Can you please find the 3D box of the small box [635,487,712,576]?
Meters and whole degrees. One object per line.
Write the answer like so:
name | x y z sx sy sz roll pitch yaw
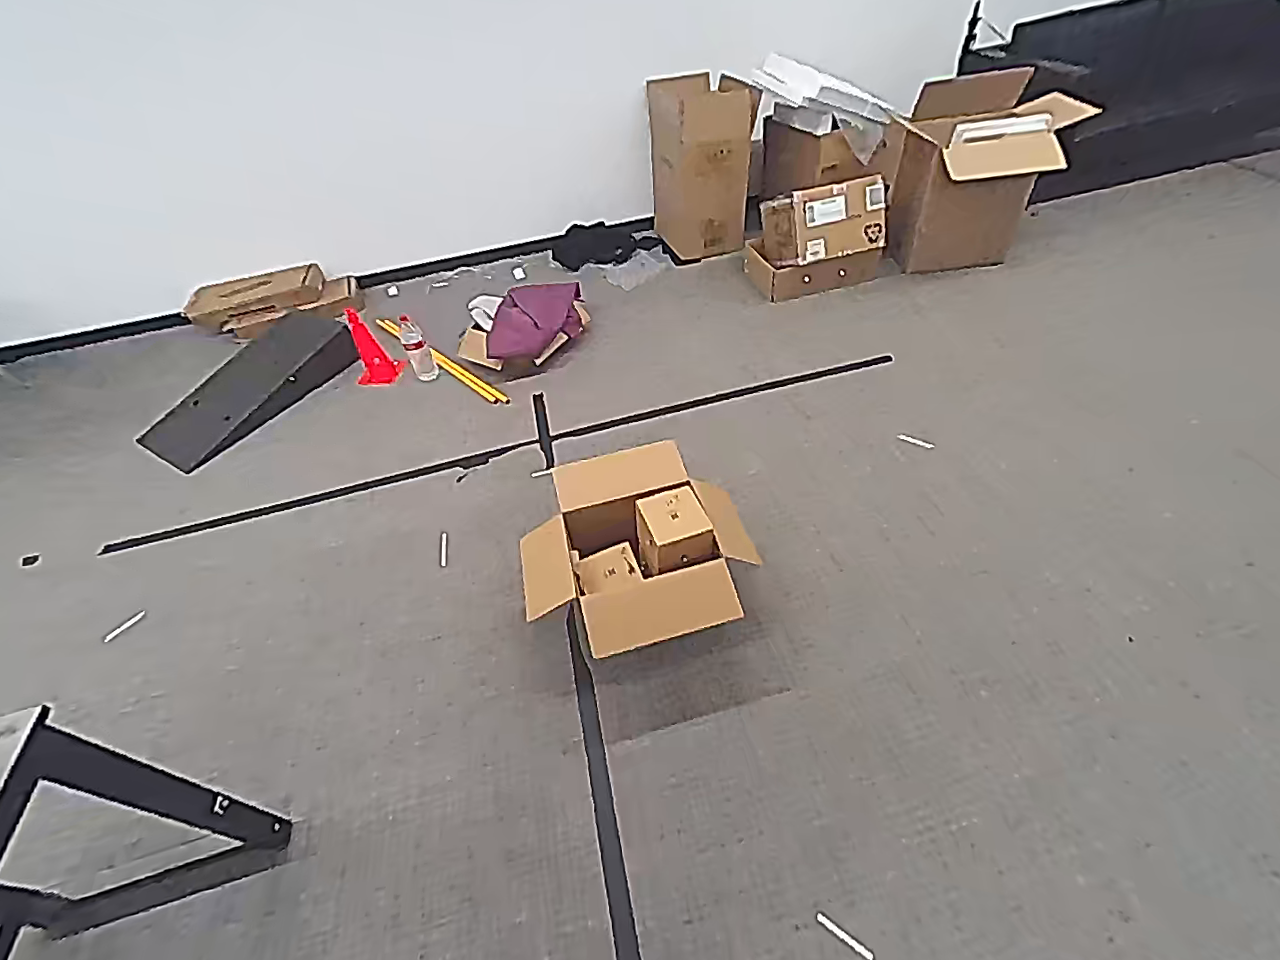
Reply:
small box | 0.094 0.155 1.547 0.168 0.176 0.179 -16 47 -12
